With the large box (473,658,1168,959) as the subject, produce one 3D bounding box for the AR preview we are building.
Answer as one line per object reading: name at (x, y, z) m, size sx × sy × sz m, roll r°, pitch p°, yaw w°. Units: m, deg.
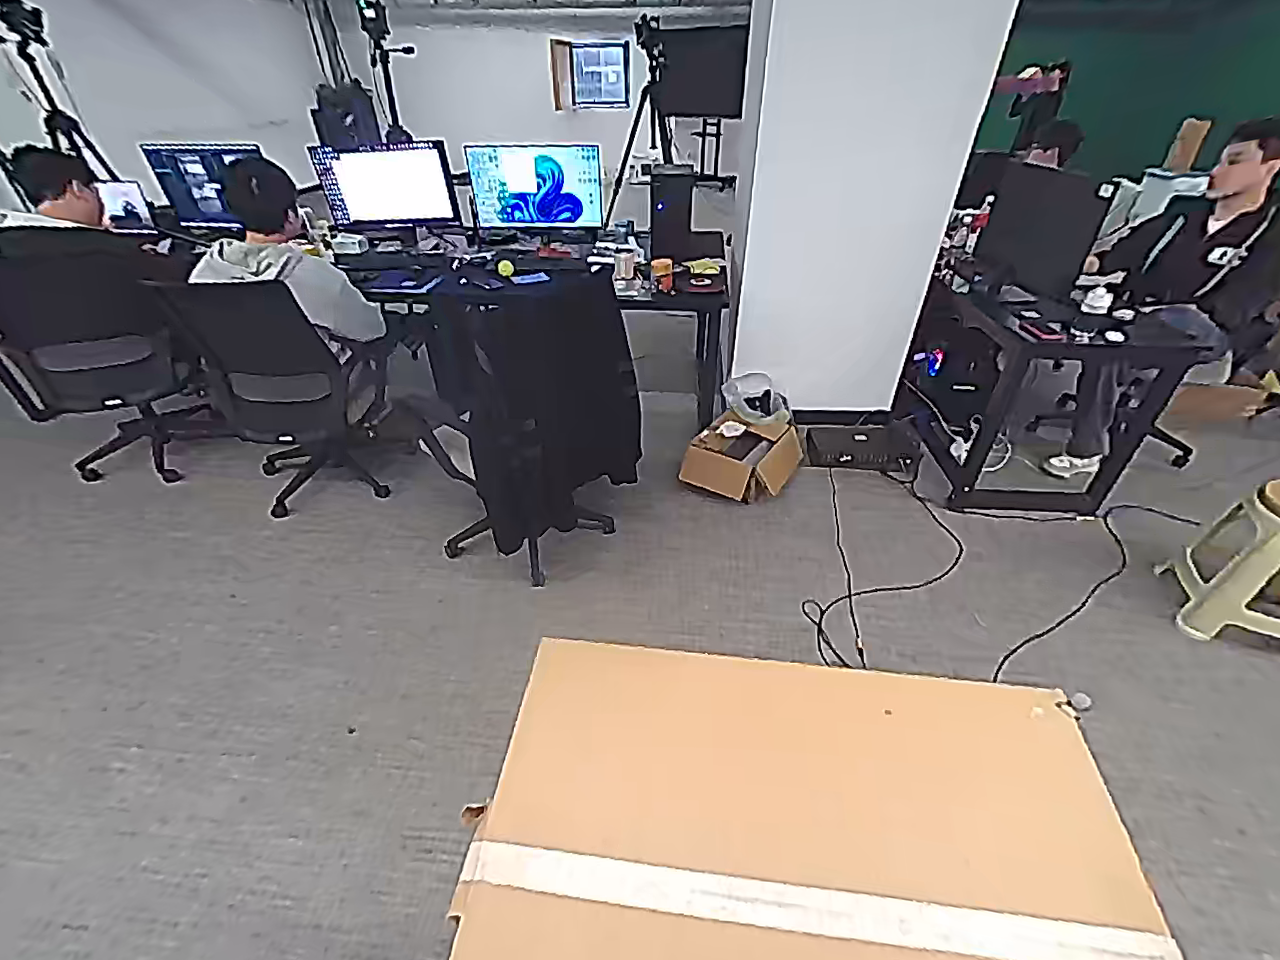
large box at (0.104, 0.371, 0.426) m, size 0.408 × 0.320 × 0.320 m, roll 4°, pitch 45°, yaw 6°
